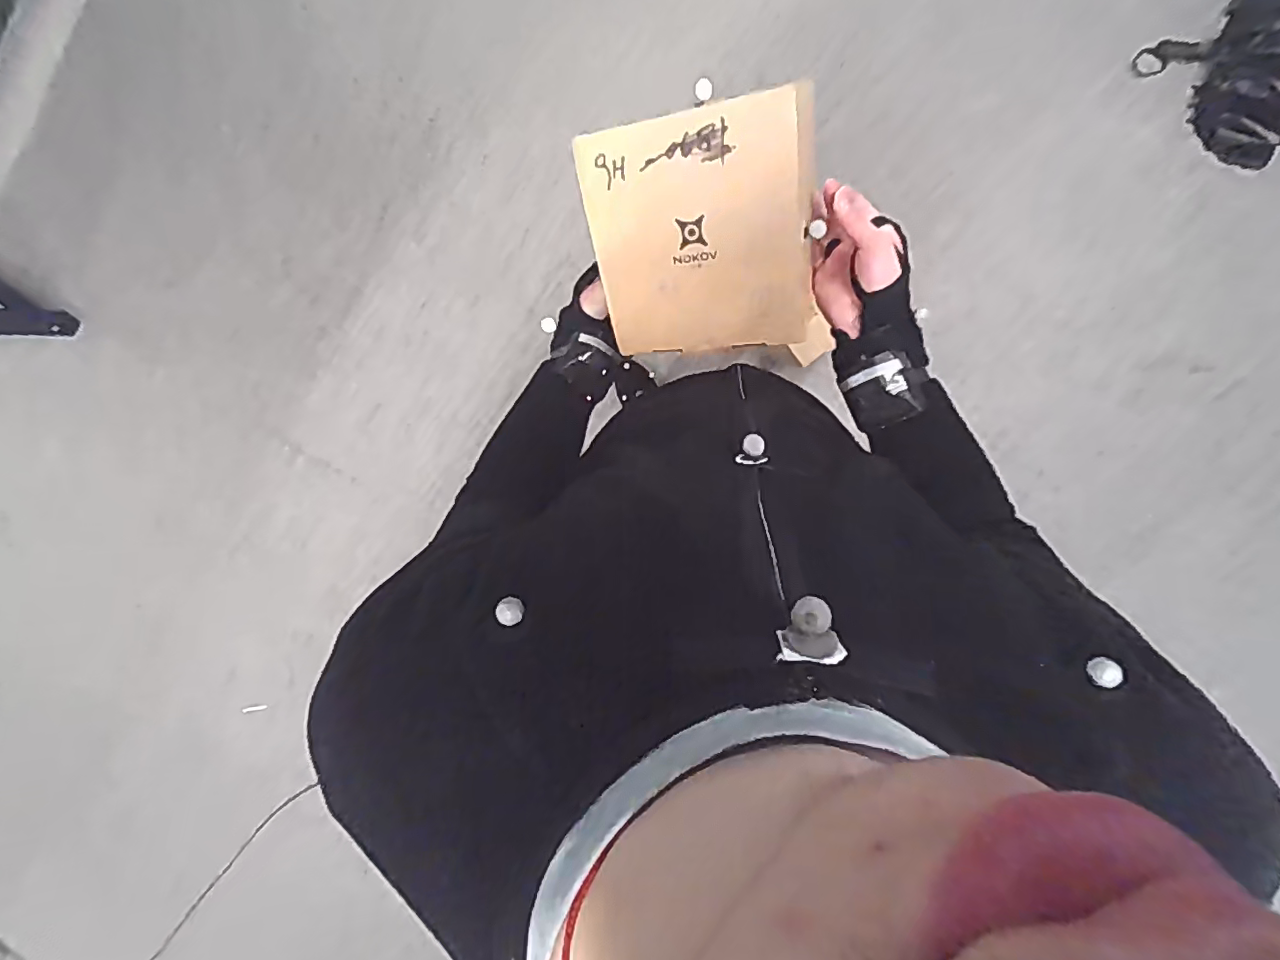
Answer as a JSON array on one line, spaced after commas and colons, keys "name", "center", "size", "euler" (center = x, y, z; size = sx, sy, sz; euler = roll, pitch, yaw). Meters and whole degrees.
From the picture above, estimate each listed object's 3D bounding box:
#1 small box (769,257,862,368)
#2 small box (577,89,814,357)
[{"name": "small box", "center": [0.366, -0.377, 1.239], "size": [0.179, 0.176, 0.168], "euler": [-37, 98, 10]}, {"name": "small box", "center": [0.067, -0.231, 0.493], "size": [0.168, 0.176, 0.179], "euler": [1, 127, 21]}]
